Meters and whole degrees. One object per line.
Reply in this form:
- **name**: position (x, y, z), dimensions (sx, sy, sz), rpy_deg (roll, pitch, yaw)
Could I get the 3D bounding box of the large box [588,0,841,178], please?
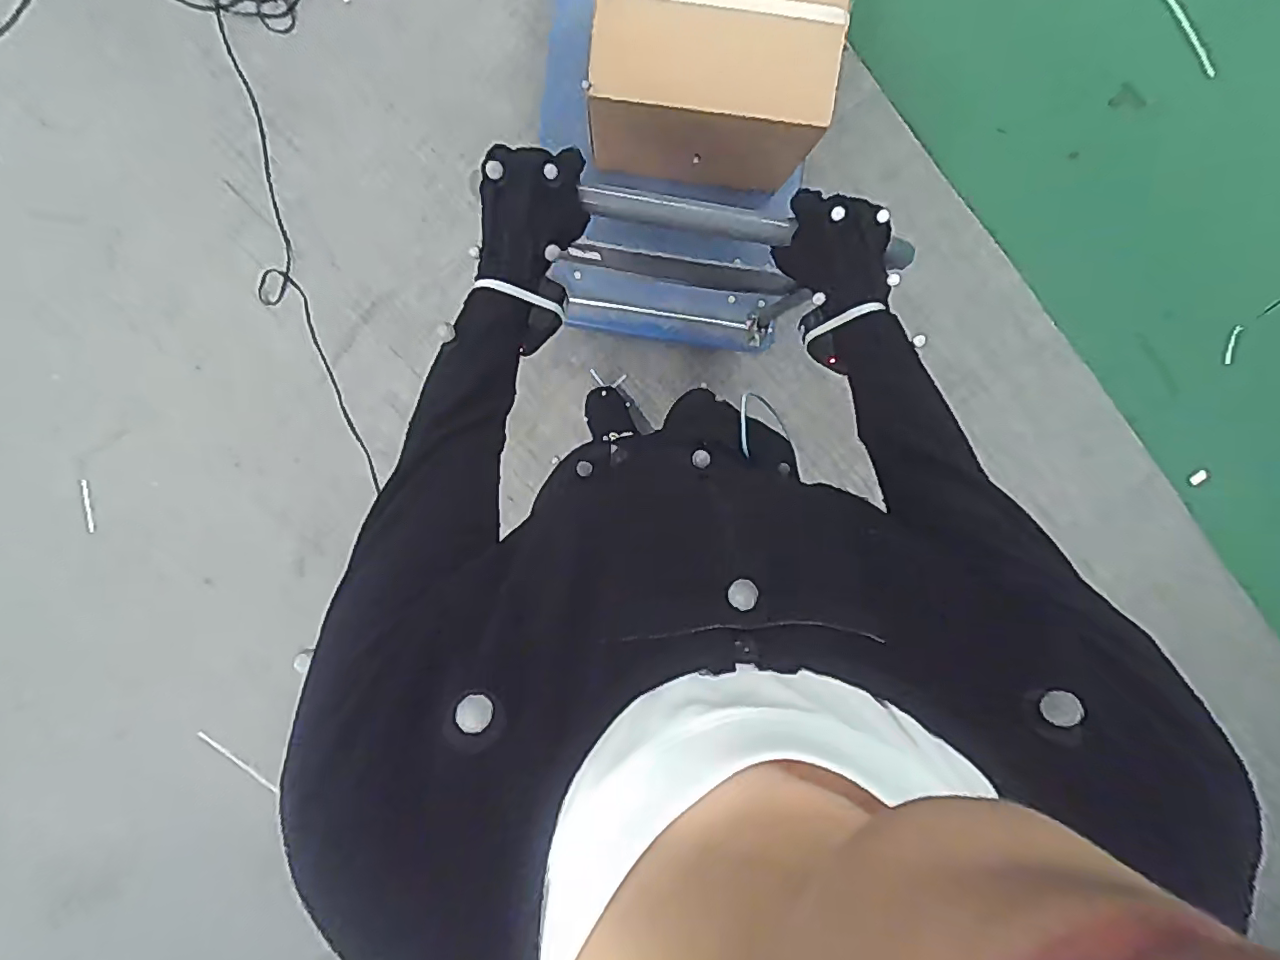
- **large box**: position (0.122, -0.794, 1.010), dimensions (0.408, 0.320, 0.320), rpy_deg (5, 100, -2)
